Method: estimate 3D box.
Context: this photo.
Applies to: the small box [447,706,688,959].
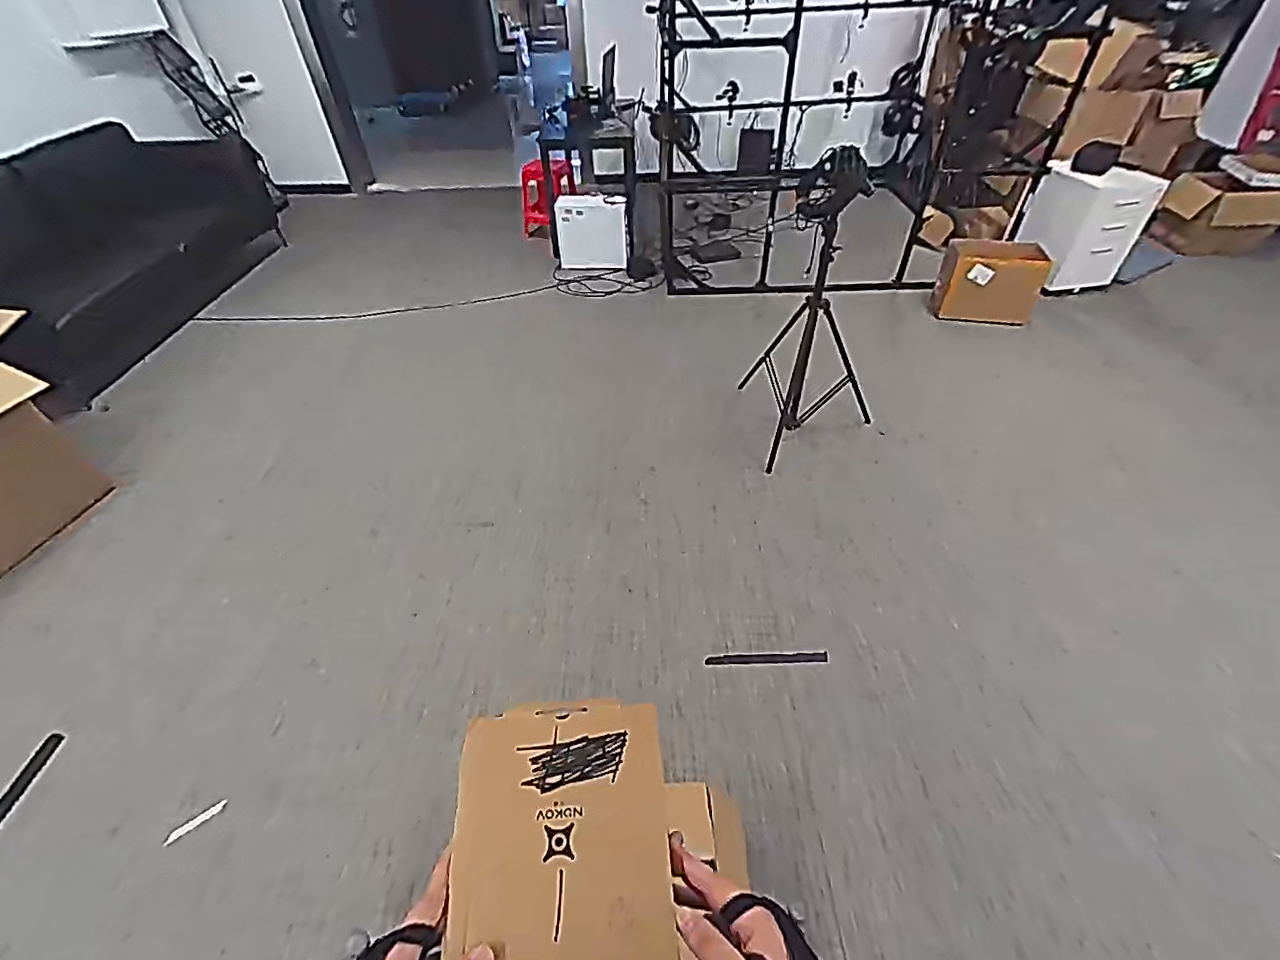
[{"bbox_3d":[-0.055,0.316,0.472,0.168,0.176,0.179,-4,53,-2],"label":"small box"}]
